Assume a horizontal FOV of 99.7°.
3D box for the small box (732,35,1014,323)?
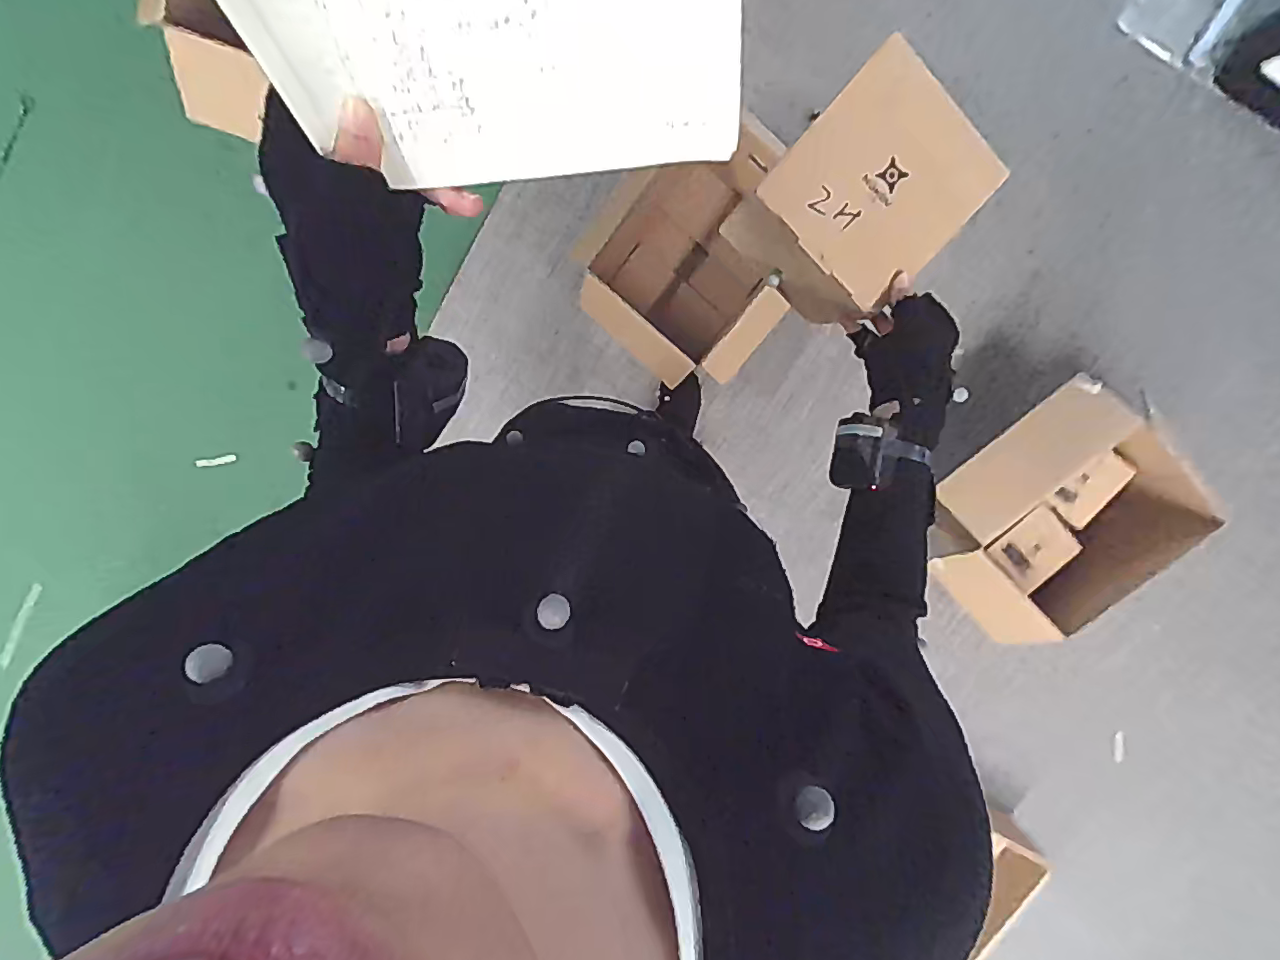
[{"bbox_3d":[0.219,-0.284,0.562,0.168,0.176,0.179,42,99,-11],"label":"small box"}]
